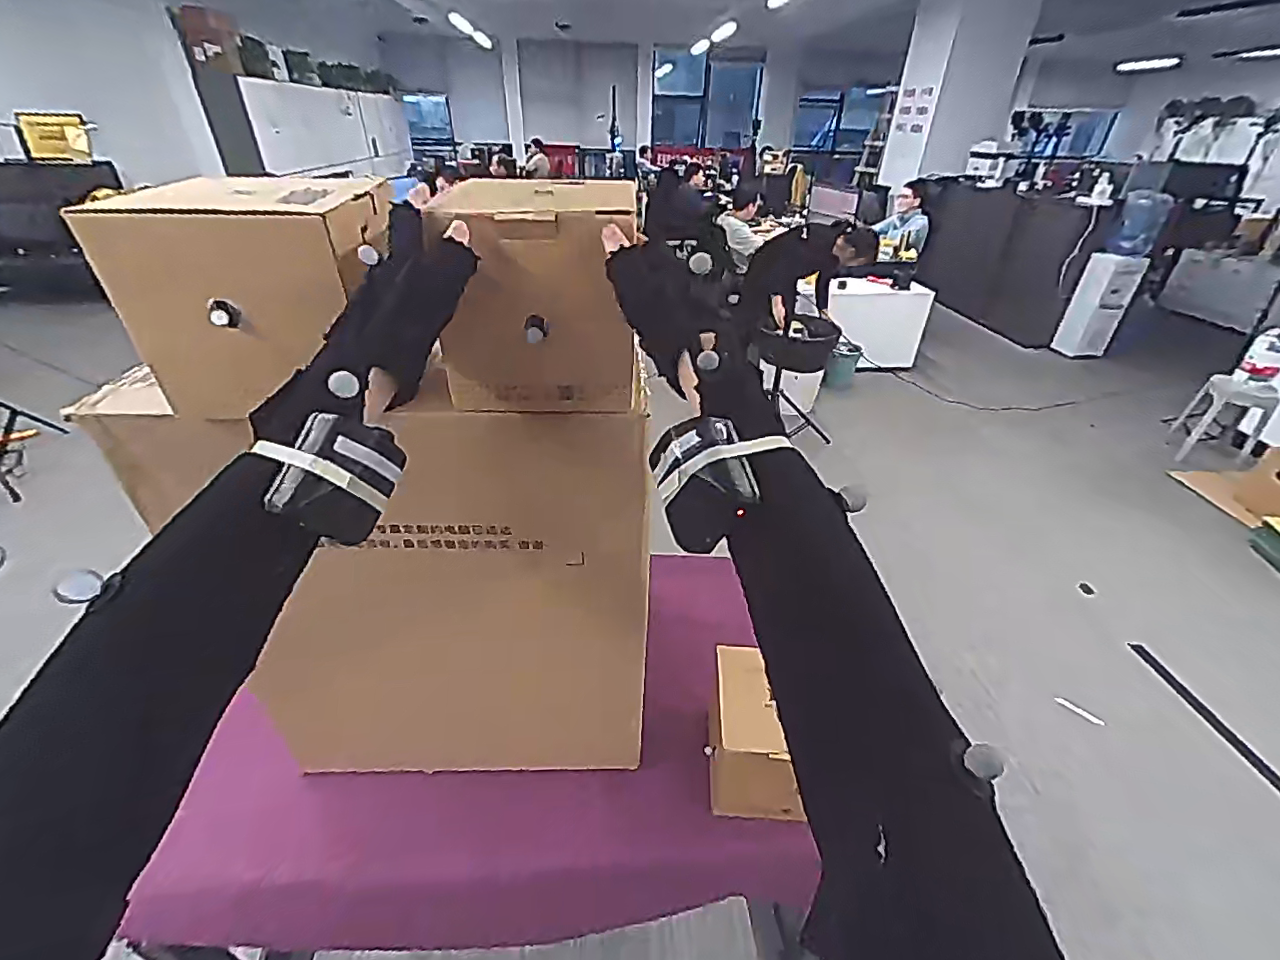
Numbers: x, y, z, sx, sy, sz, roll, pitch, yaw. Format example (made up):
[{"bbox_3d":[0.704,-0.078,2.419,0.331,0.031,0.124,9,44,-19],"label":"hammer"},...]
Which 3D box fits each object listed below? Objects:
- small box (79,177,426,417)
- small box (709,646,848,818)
[{"bbox_3d":[-0.313,-0.168,0.493,0.179,0.176,0.168,-2,35,-4],"label":"small box"},{"bbox_3d":[0.196,0.379,0.816,0.168,0.176,0.179,3,32,2],"label":"small box"}]
